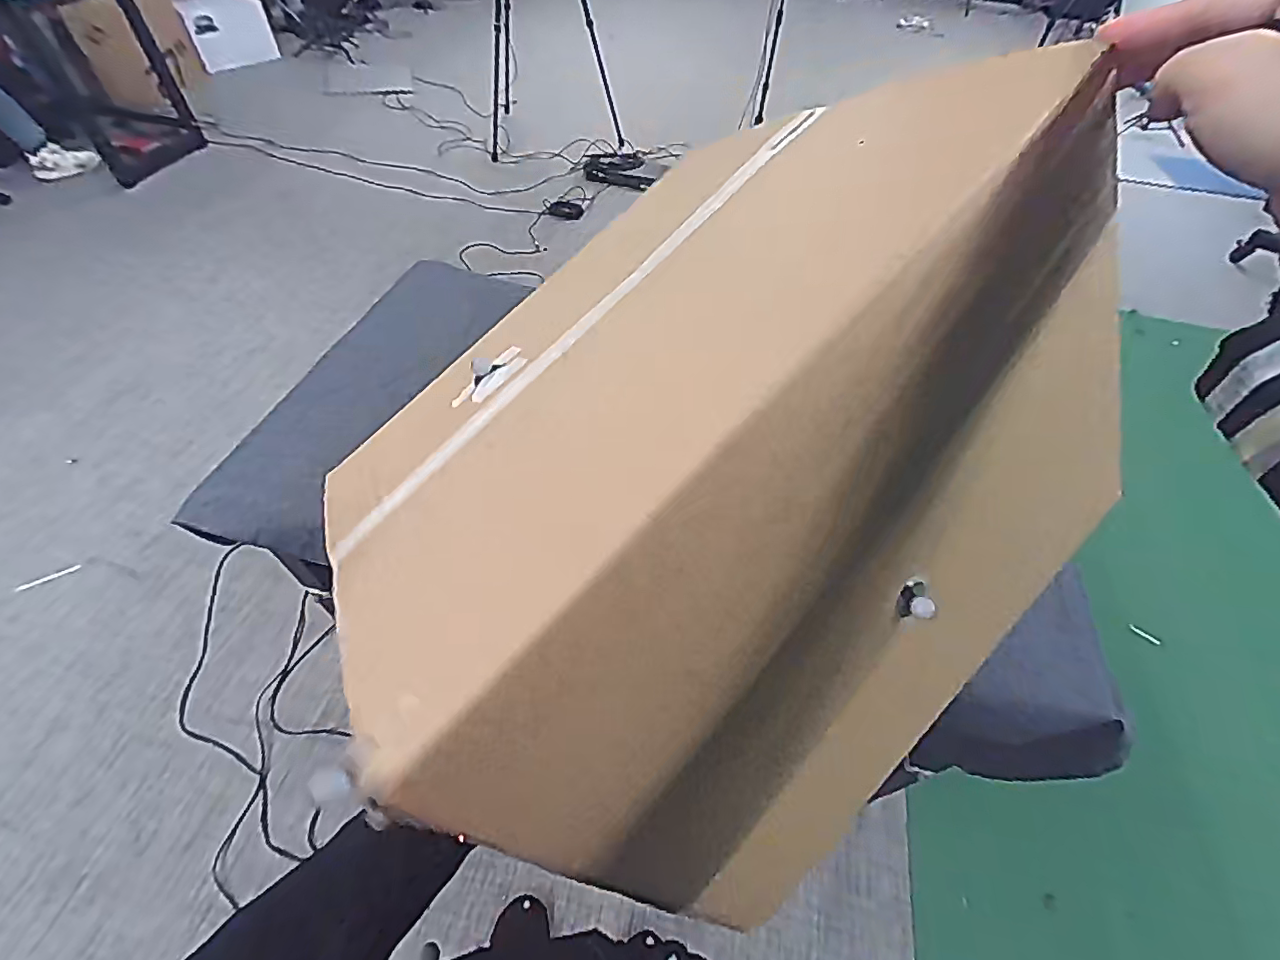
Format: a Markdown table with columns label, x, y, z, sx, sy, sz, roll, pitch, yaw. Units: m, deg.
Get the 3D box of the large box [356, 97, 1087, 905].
| label | x | y | z | sx | sy | sz | roll | pitch | yaw |
| --- | --- | --- | --- | --- | --- | --- | --- | --- | --- |
| large box | 0.070 | 0.010 | 0.420 | 0.408 | 0.320 | 0.320 | -47 | 37 | -8 |
